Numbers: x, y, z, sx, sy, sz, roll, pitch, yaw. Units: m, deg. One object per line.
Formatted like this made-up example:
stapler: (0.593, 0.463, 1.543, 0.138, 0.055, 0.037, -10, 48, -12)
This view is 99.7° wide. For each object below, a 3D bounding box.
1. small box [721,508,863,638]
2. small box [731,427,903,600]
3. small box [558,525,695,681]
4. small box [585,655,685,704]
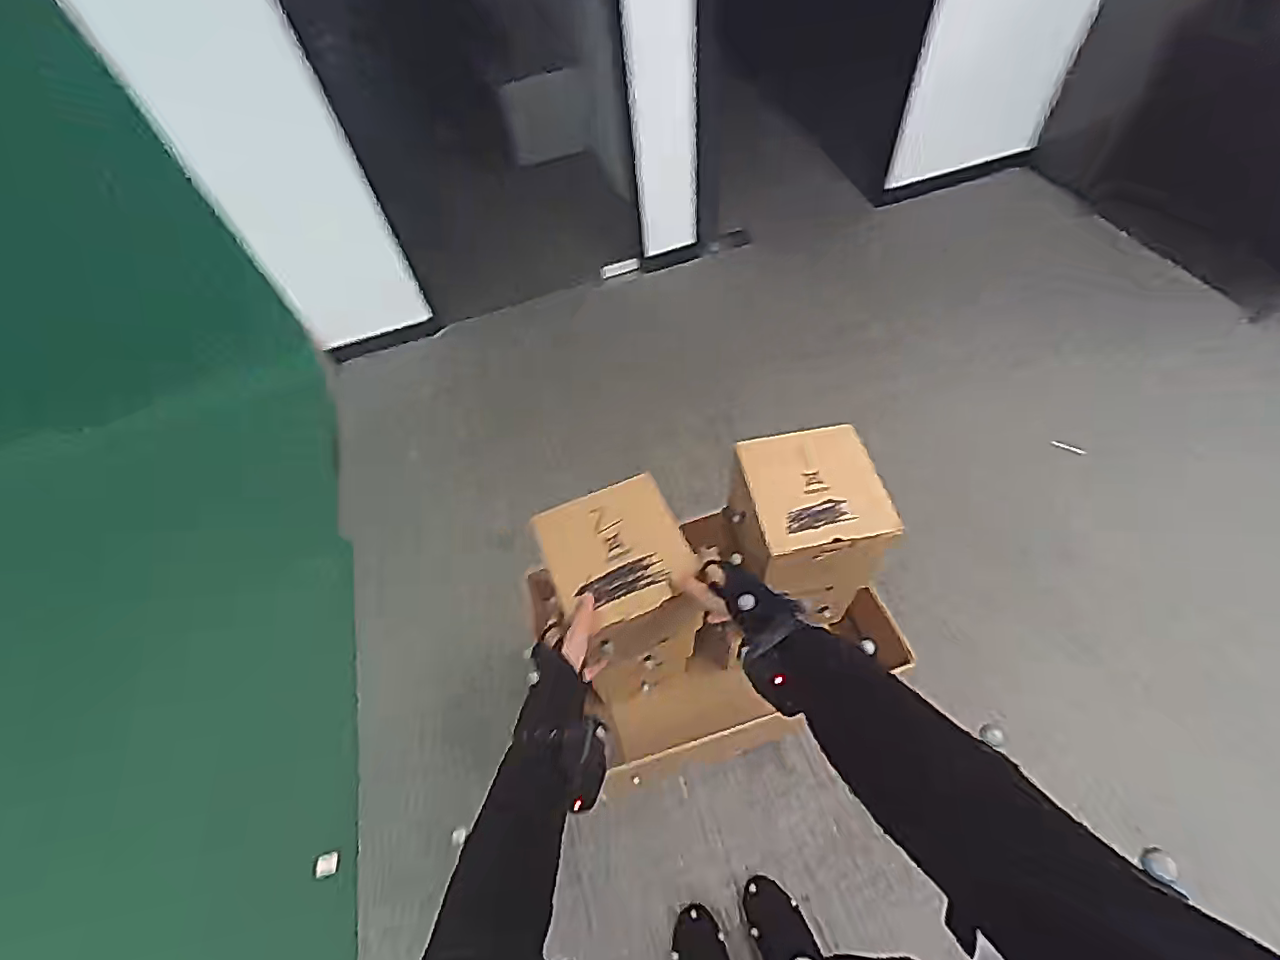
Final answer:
small box: (0.235, 0.146, 0.886, 0.168, 0.176, 0.179, -11, 55, -3)
small box: (0.228, 0.054, 0.751, 0.168, 0.176, 0.179, -9, 54, -1)
small box: (-0.019, 0.204, 0.865, 0.168, 0.176, 0.179, -18, 57, -9)
small box: (-0.023, 0.289, 1.007, 0.168, 0.176, 0.179, -18, 56, -8)
